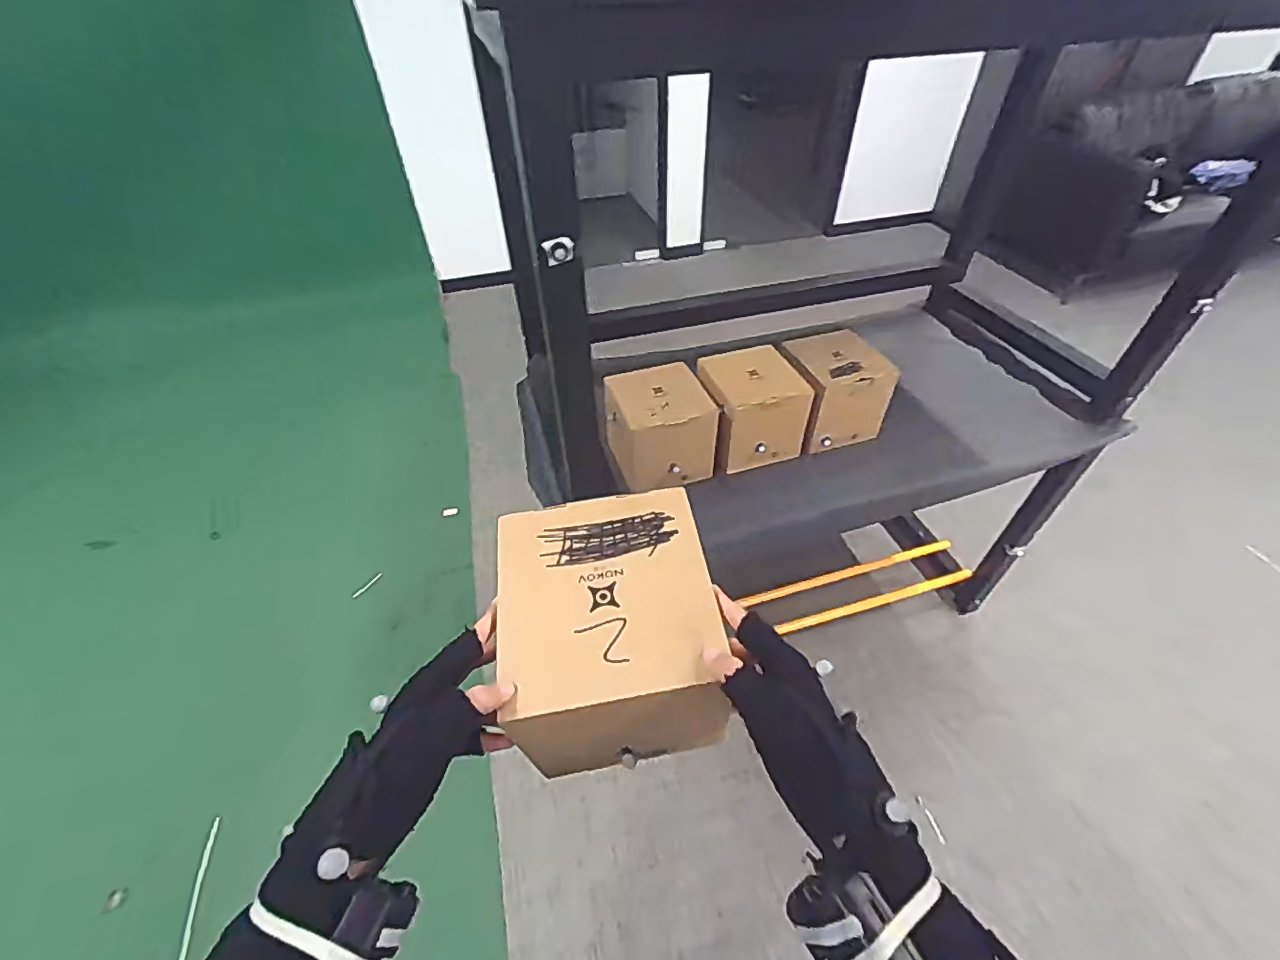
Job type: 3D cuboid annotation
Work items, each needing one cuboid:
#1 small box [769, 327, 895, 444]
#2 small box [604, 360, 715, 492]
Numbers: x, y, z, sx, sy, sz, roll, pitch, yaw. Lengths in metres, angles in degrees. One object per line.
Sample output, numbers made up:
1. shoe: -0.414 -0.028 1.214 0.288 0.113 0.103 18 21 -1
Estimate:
1. small box: 0.389 -0.191 1.127 0.168 0.176 0.179 -14 45 -12
2. small box: 0.032 -0.105 1.051 0.168 0.176 0.179 -15 46 -12
